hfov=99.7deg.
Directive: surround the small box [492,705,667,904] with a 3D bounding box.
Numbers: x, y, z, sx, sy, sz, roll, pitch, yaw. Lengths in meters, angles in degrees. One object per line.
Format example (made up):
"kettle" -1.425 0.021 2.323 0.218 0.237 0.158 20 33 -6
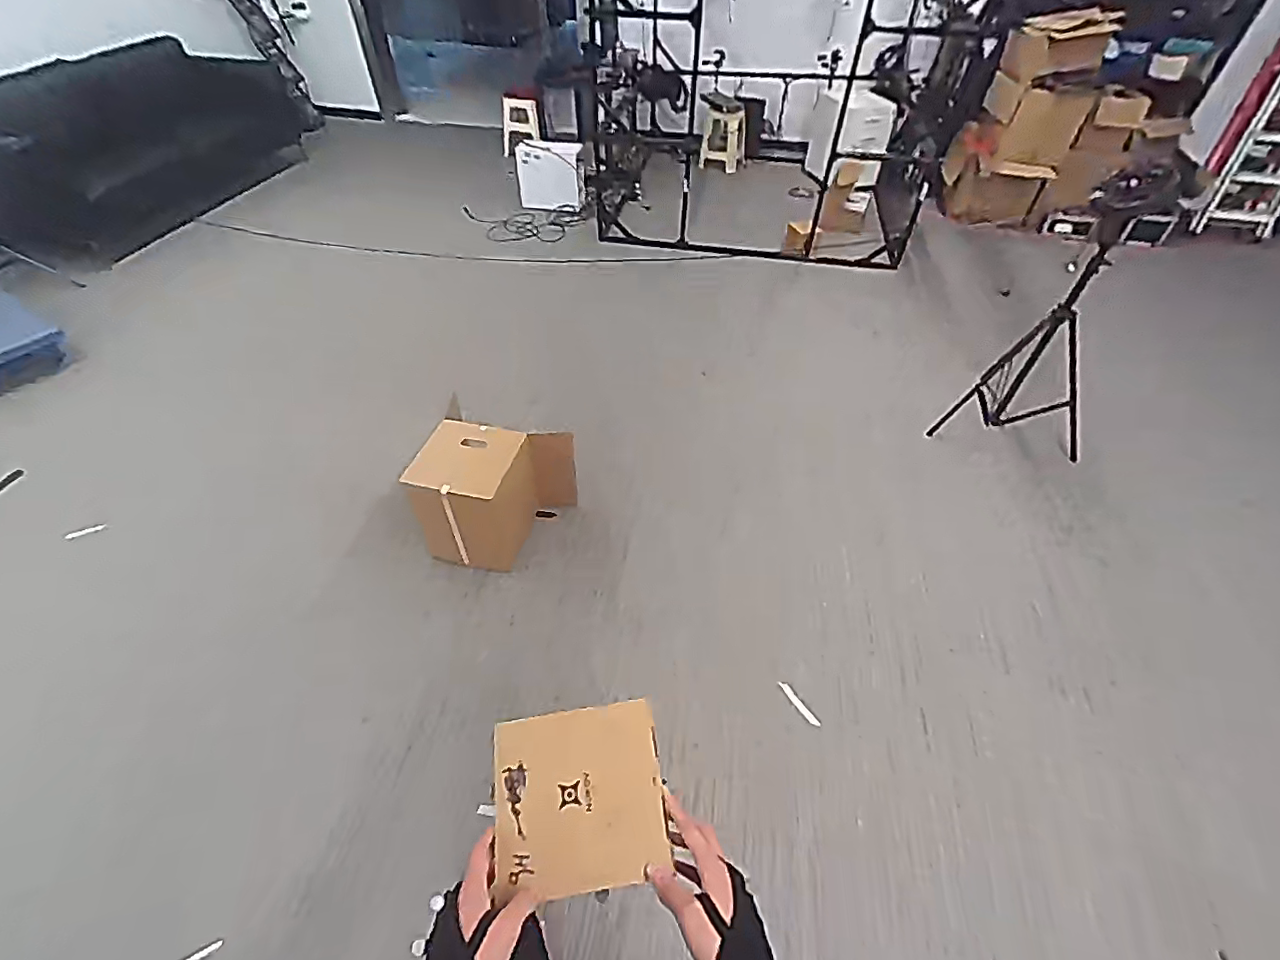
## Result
"small box" -0.066 0.377 0.639 0.179 0.176 0.168 -9 57 -2
